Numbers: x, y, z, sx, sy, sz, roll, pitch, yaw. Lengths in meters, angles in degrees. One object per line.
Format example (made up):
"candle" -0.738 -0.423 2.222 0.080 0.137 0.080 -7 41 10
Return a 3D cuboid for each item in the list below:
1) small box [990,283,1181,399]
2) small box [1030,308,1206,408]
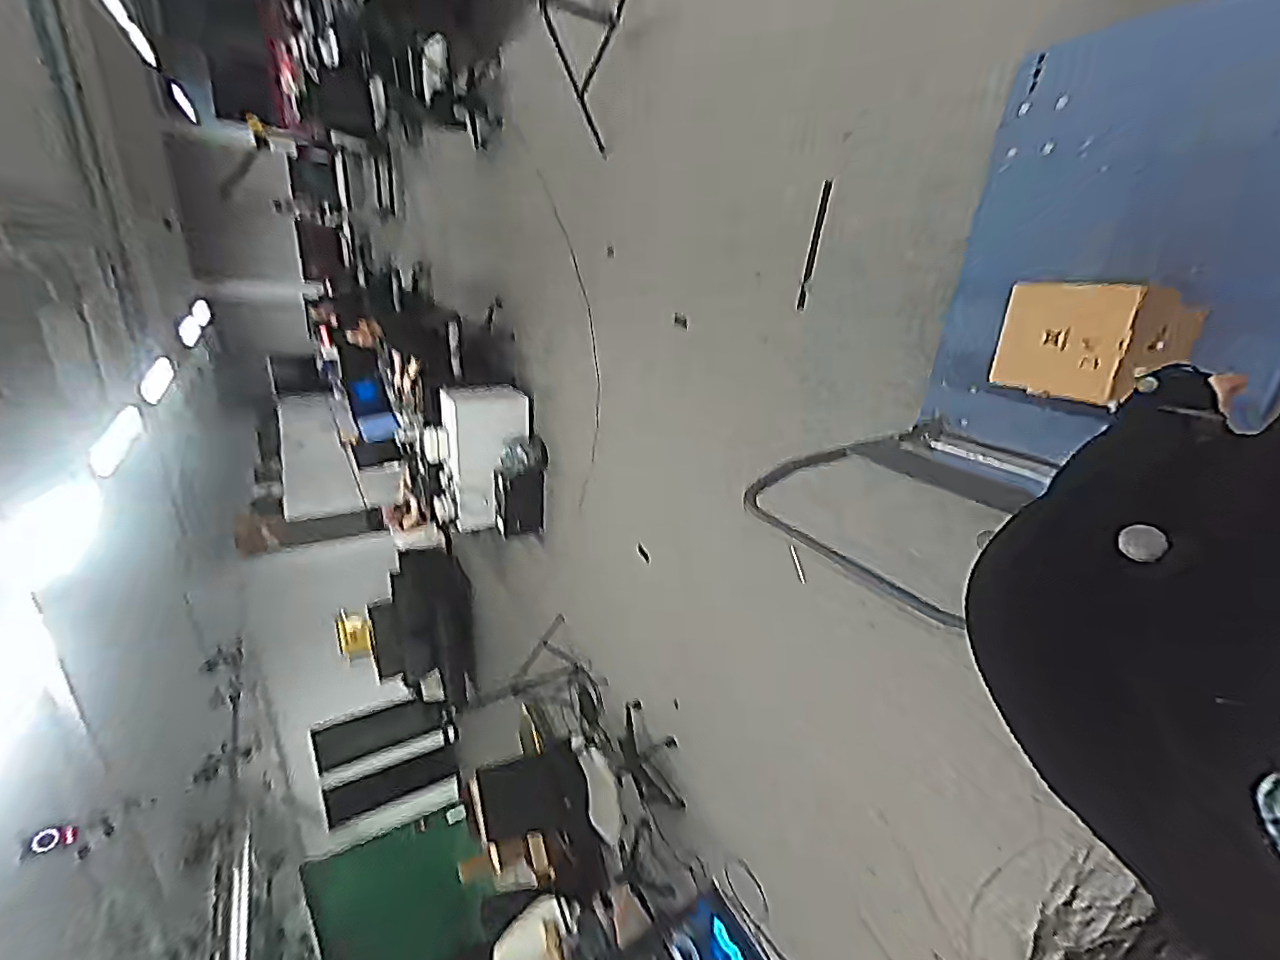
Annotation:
"small box" 0.731 -0.233 0.895 0.179 0.176 0.168 29 122 52
"small box" 0.869 -0.231 0.989 0.179 0.176 0.168 29 122 52
